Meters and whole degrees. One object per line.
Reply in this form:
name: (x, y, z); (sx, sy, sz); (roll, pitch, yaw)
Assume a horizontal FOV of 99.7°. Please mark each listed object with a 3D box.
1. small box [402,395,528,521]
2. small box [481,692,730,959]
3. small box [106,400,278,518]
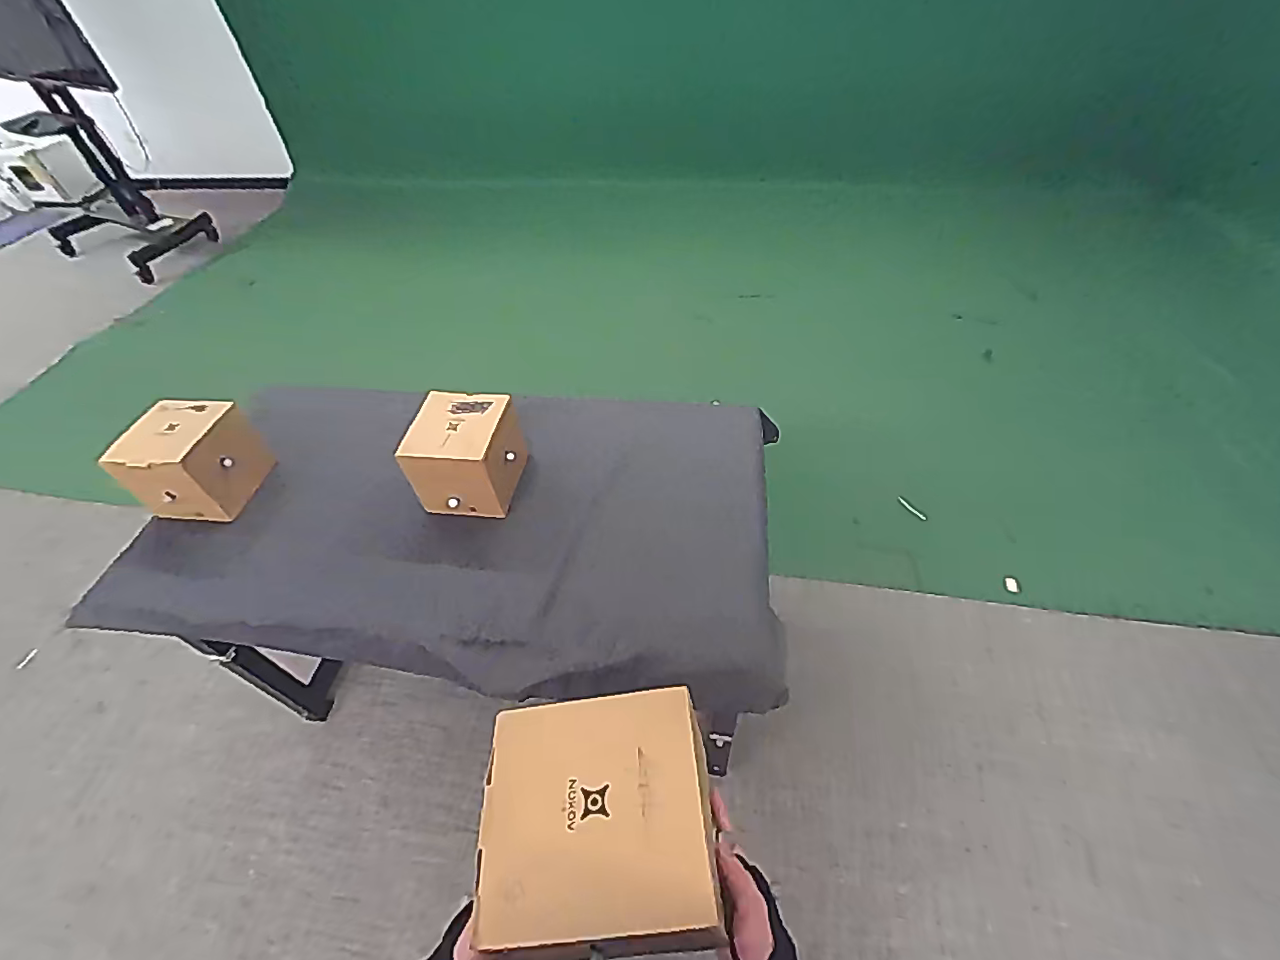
small box: (-0.329, -0.043, 1.061); (0.168, 0.176, 0.179); (4, 50, 7)
small box: (-0.021, 0.315, 0.488); (0.179, 0.176, 0.168); (-9, 46, 3)
small box: (-0.881, -0.040, 1.089); (0.168, 0.176, 0.179); (3, 49, 5)
